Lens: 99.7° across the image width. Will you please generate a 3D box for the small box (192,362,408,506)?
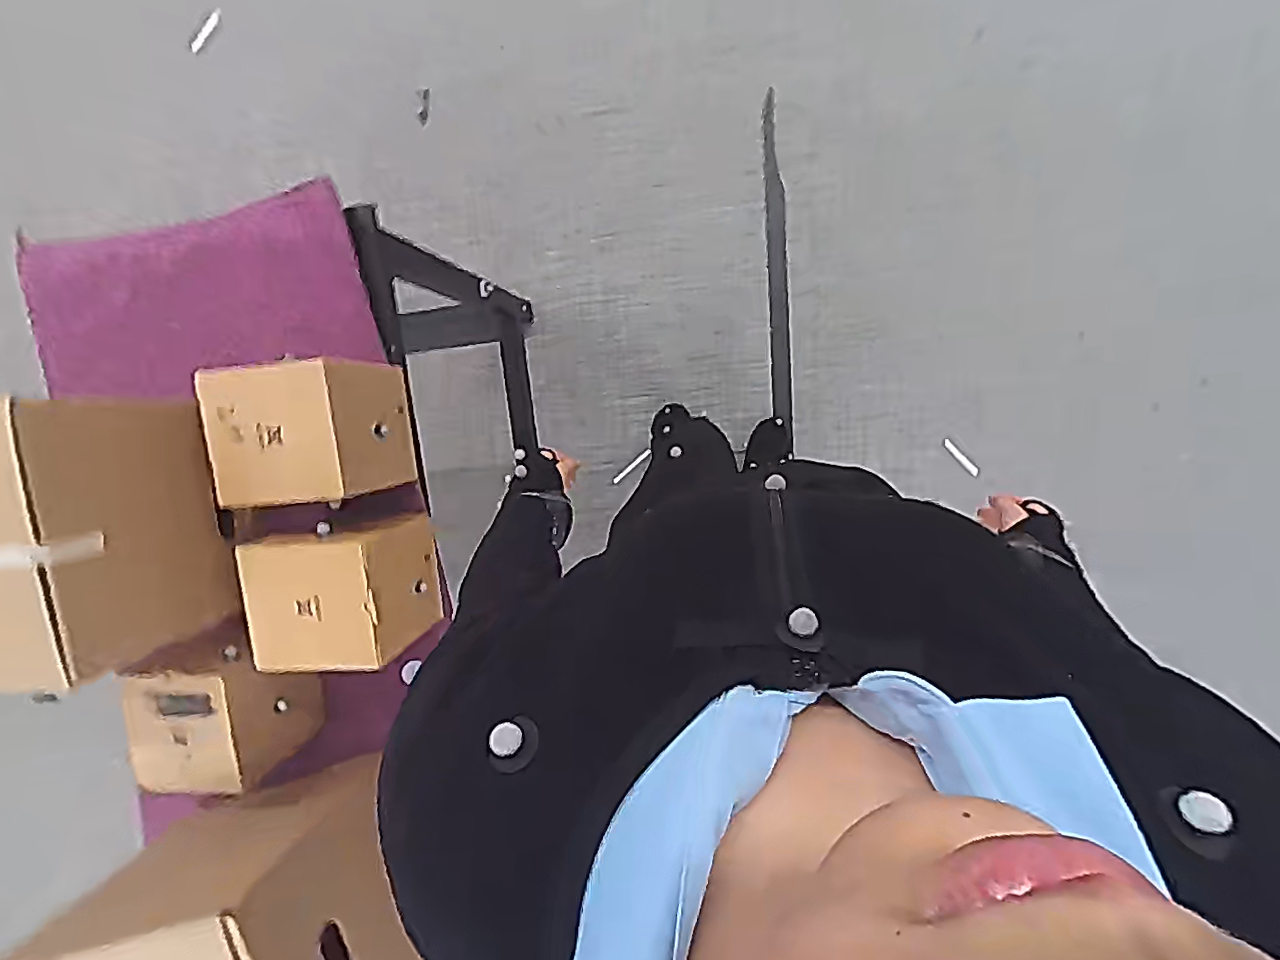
[{"bbox_3d":[-0.431,-0.064,0.720,0.179,0.176,0.168,-4,97,8],"label":"small box"}]
